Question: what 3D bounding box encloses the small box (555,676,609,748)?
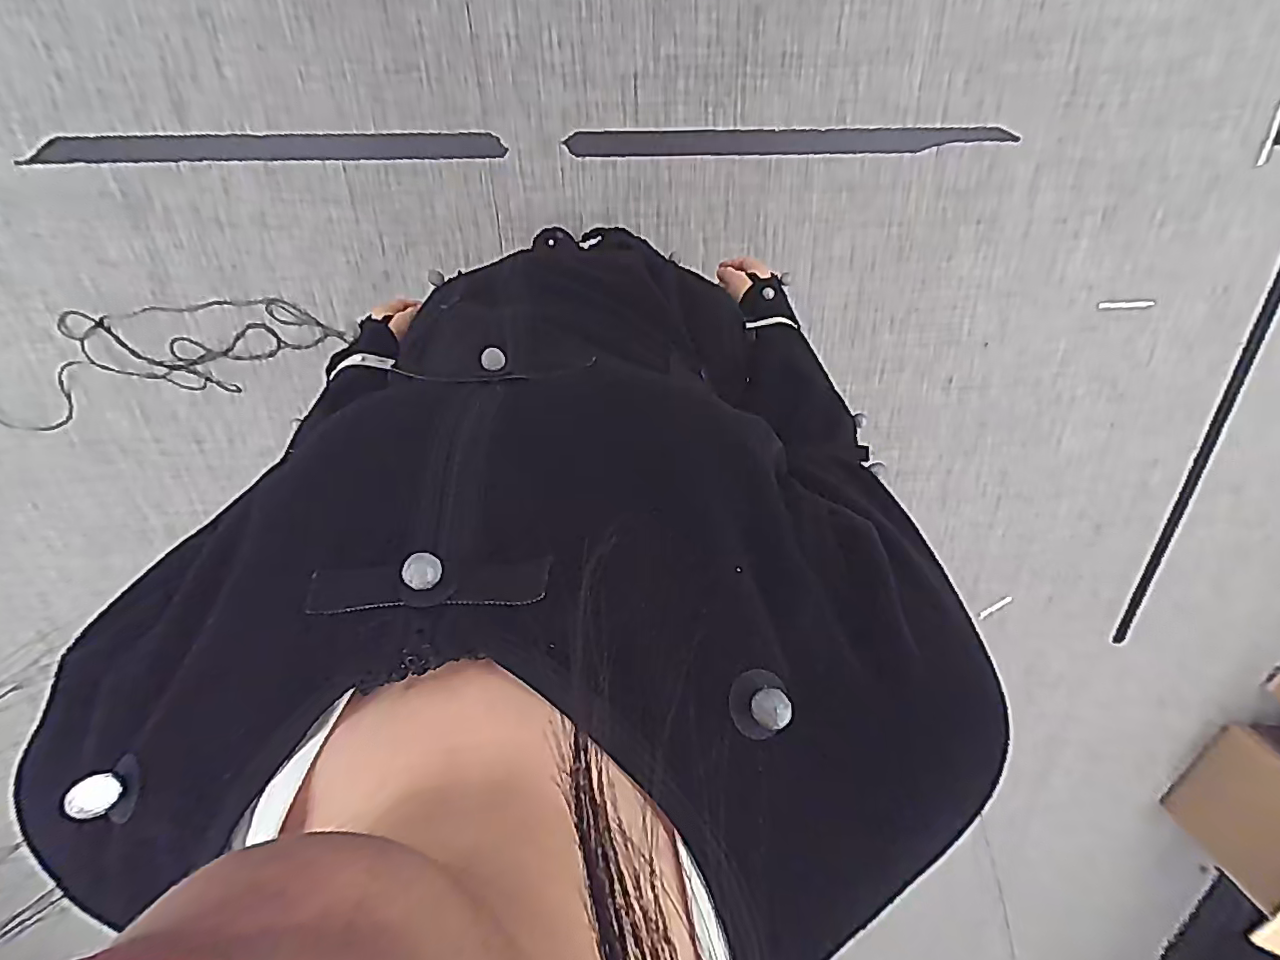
[{"bbox_3d":[-0.200,0.797,1.869,0.179,0.176,0.168,1,115,-6],"label":"small box"}]
